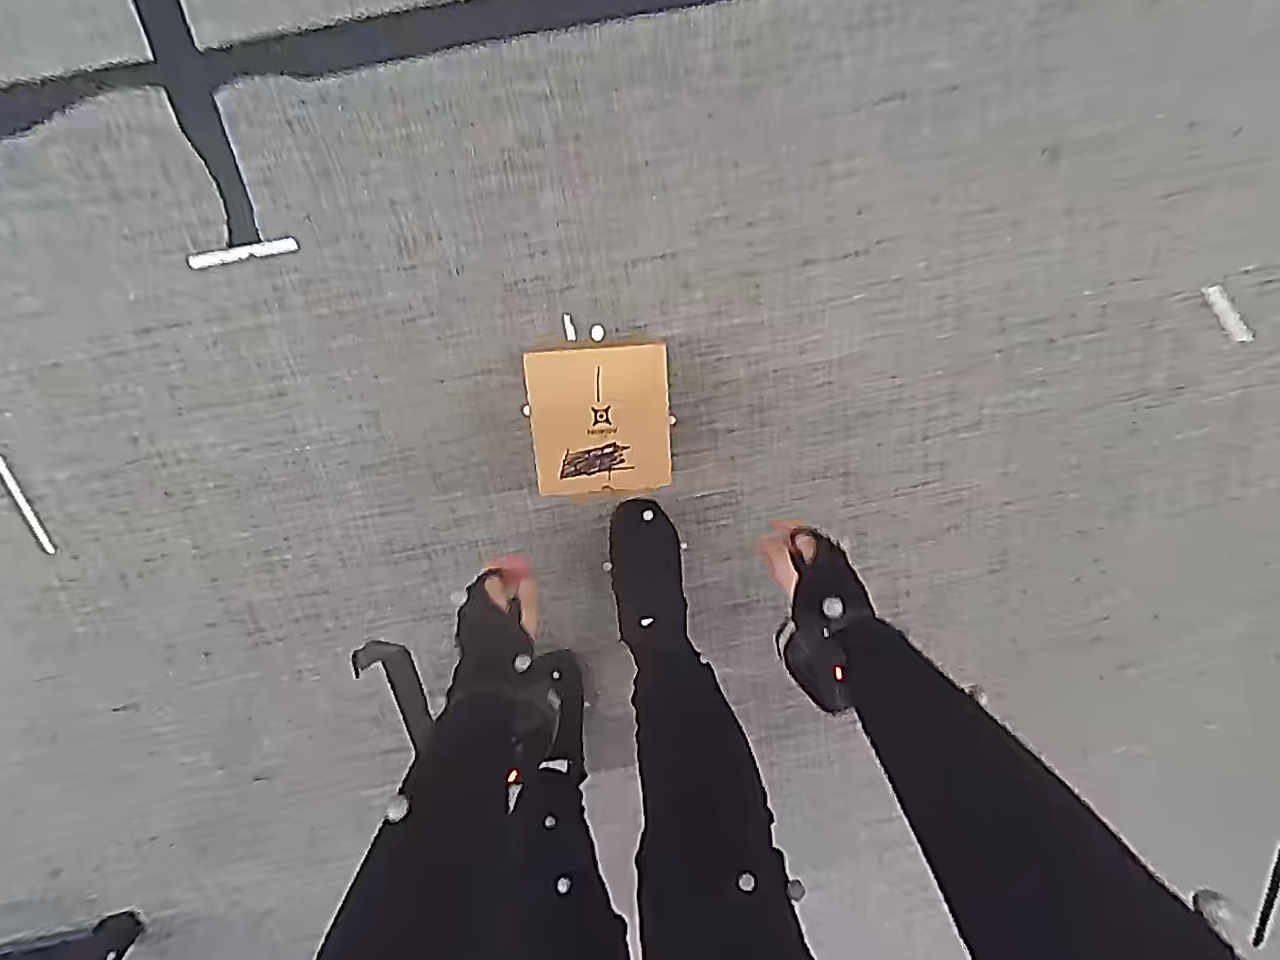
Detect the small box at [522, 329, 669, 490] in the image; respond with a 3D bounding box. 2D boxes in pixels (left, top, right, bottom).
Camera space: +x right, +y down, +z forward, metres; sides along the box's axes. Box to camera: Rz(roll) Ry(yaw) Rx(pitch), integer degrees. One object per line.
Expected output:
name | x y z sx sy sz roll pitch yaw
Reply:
small box | -0.055 -0.100 0.707 0.168 0.176 0.179 -5 109 -5
